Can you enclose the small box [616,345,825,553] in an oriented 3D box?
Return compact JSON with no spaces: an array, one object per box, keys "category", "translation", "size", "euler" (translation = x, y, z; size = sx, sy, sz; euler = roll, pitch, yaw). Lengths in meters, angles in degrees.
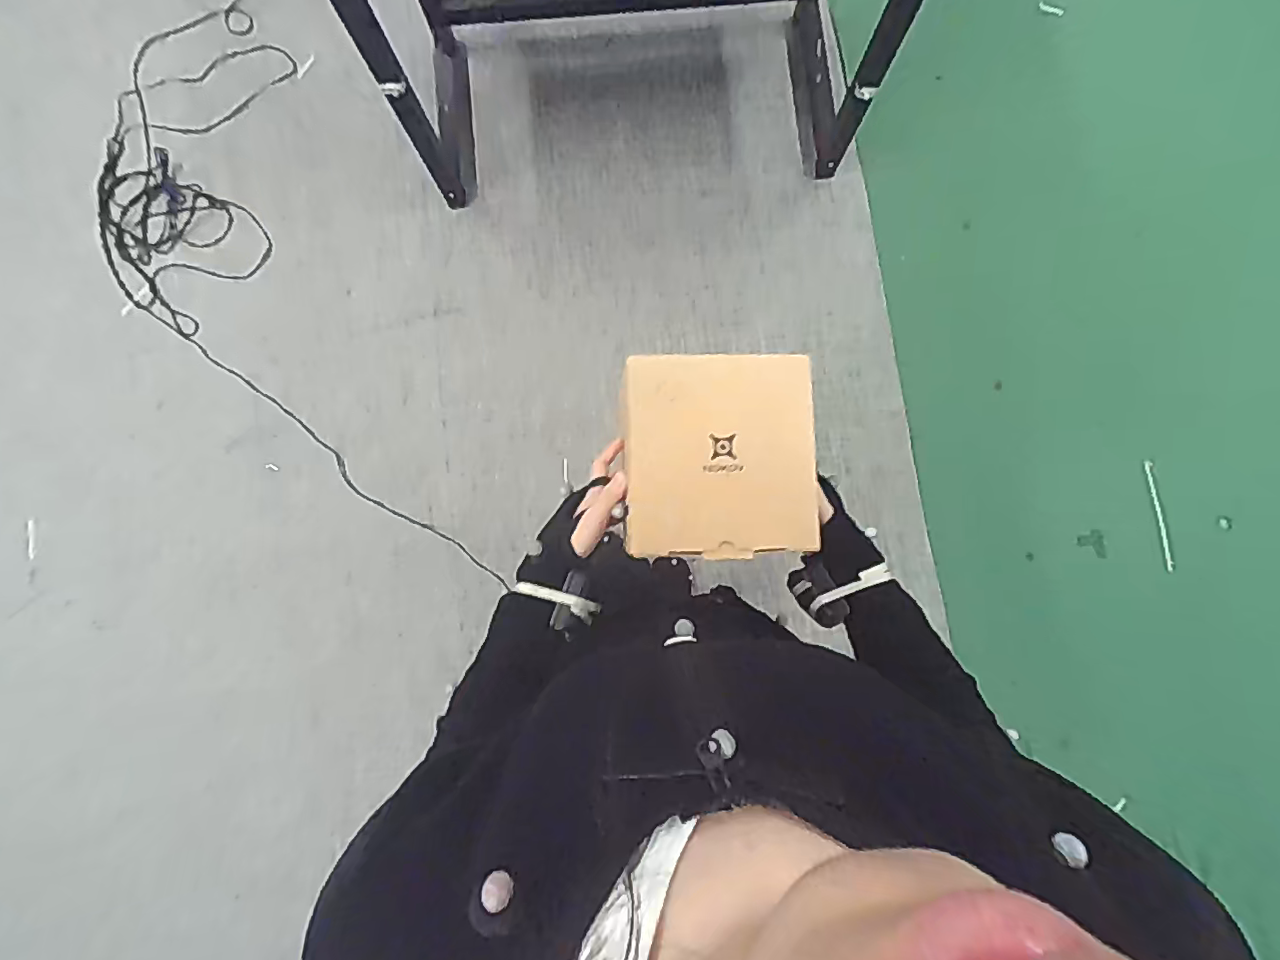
[{"category":"small box","translation":[0.064,-0.020,0.534],"size":[0.168,0.176,0.179],"euler":[-3,85,-4]}]
